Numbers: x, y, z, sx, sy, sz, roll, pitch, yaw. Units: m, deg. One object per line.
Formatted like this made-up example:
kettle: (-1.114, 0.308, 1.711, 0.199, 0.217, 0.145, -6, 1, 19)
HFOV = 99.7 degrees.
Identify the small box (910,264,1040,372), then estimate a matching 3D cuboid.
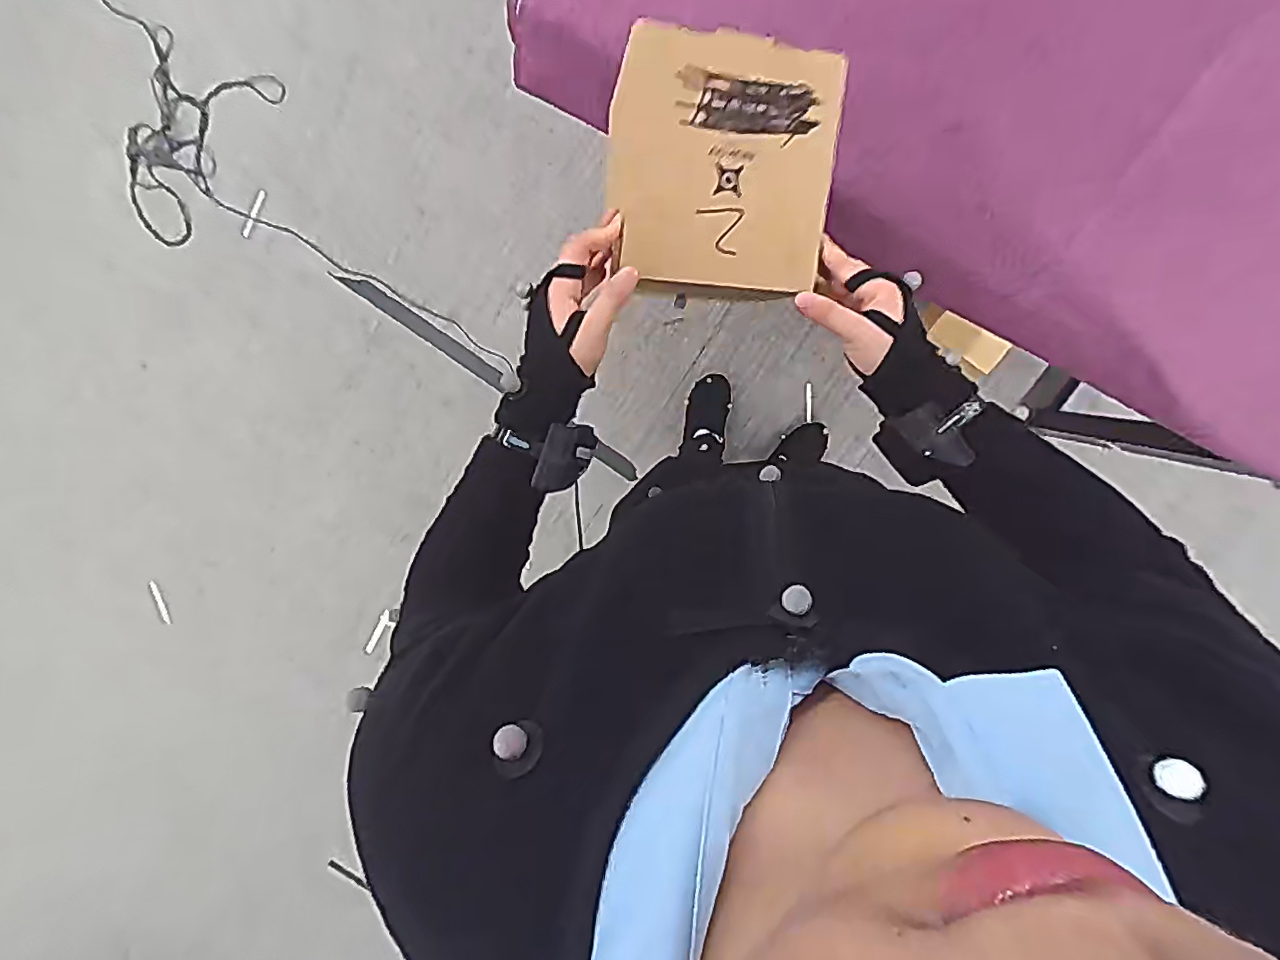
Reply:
small box: (0.765, -0.369, 1.266, 0.168, 0.176, 0.179, 36, 103, 0)

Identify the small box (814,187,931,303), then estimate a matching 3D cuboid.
small box: (0.527, -0.534, 1.261, 0.168, 0.176, 0.179, 34, 103, -1)
